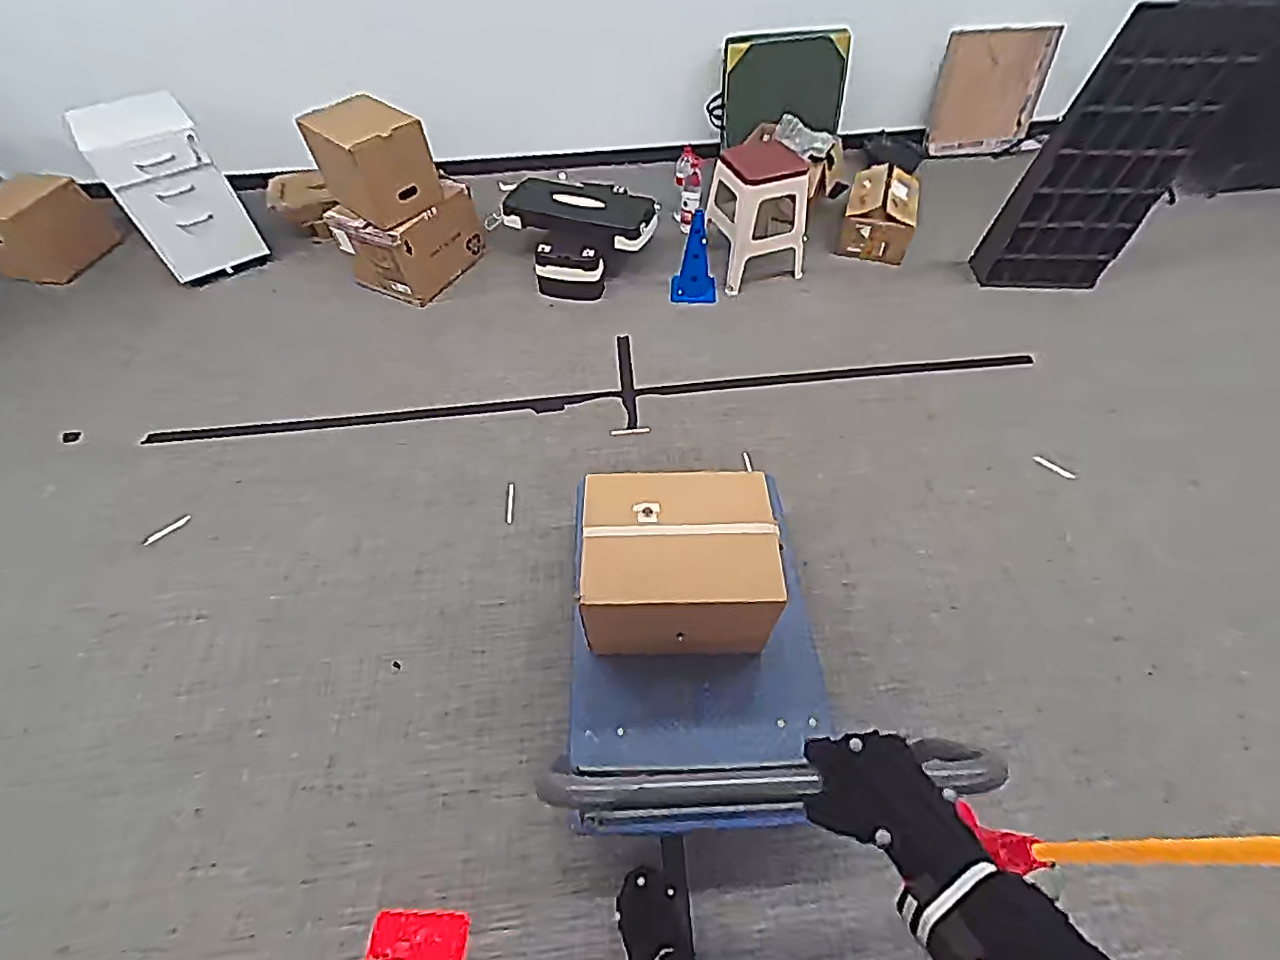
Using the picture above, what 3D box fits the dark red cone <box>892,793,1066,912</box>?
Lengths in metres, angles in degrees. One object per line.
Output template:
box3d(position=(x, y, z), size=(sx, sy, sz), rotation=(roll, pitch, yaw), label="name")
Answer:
box3d(position=(0.665, 0.695, 1.026), size=(0.201, 0.394, 0.202), rotation=(-4, 54, -4), label="dark red cone")

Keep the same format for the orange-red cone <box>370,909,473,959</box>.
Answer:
box3d(position=(-0.451, 0.881, 0.947), size=(0.198, 0.360, 0.199), rotation=(1, 52, 2), label="orange-red cone")

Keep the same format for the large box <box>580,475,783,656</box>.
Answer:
box3d(position=(0.083, 0.207, 1.253), size=(0.408, 0.320, 0.320), rotation=(-2, 54, 1), label="large box")
